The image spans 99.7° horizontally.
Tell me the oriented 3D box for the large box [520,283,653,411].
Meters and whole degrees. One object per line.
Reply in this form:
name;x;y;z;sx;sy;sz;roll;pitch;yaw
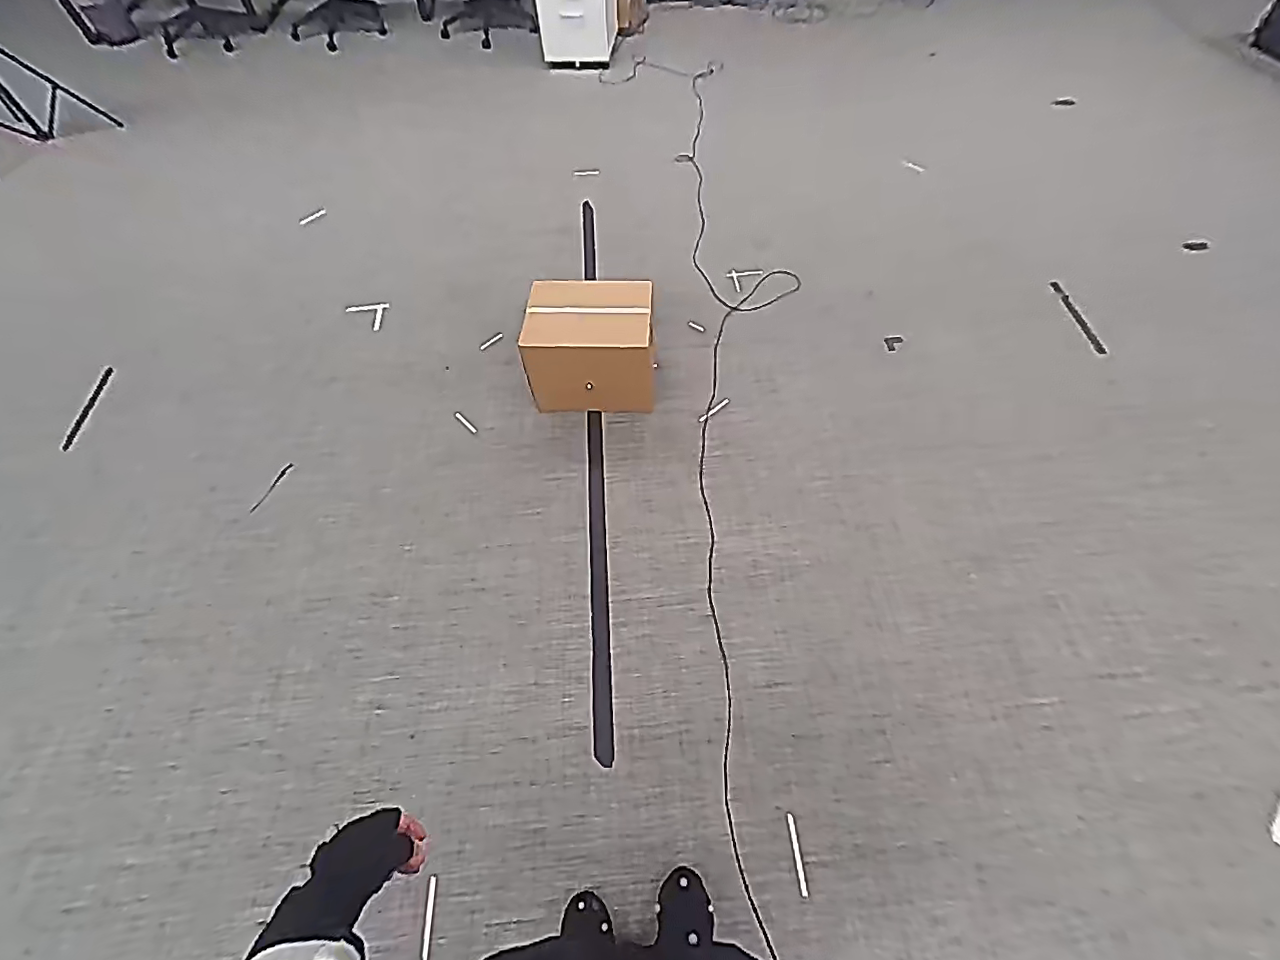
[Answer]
large box;-0.161;-0.445;1.839;0.408;0.320;0.320;1;58;3
